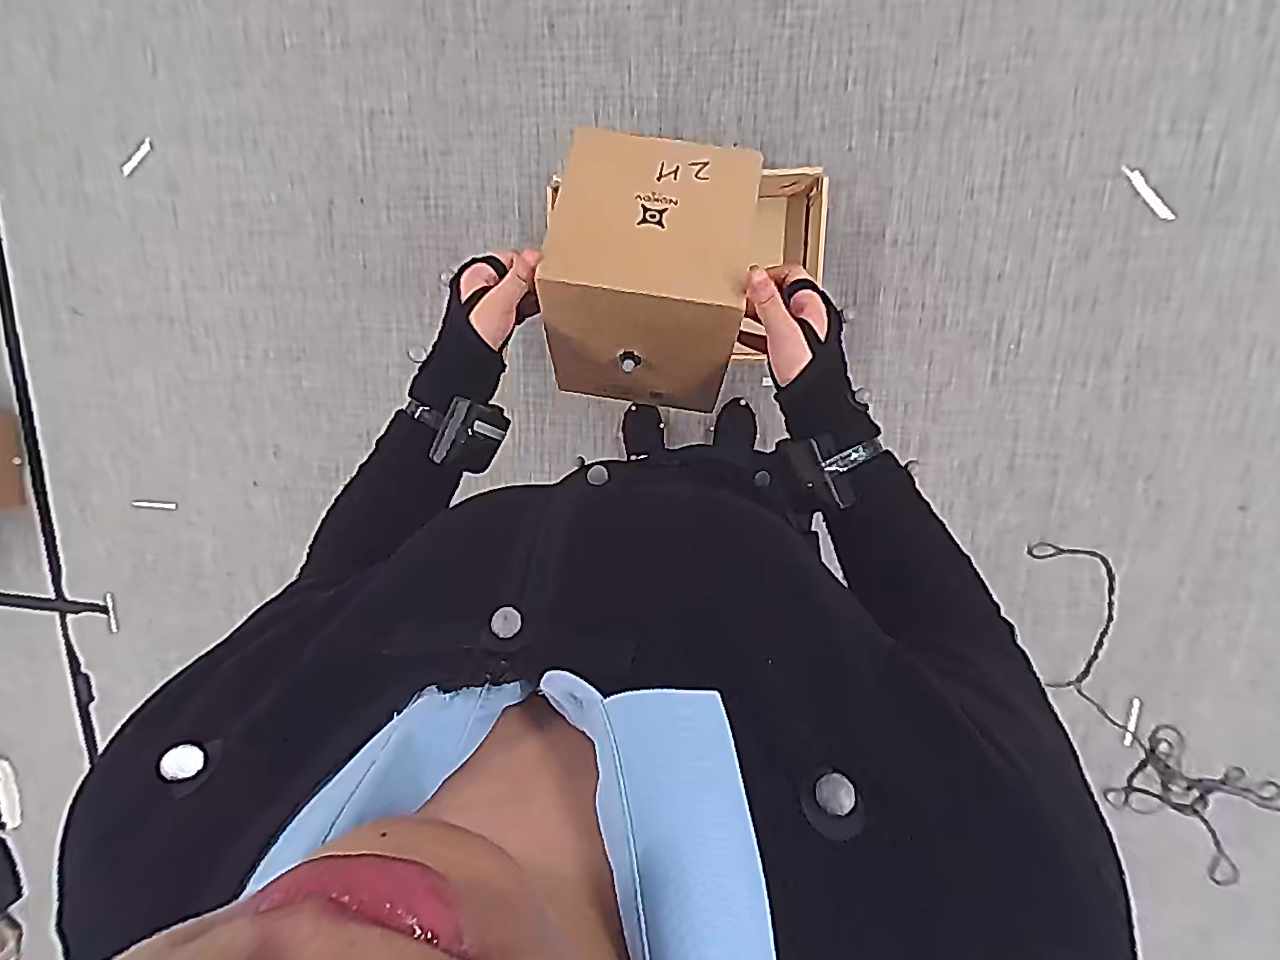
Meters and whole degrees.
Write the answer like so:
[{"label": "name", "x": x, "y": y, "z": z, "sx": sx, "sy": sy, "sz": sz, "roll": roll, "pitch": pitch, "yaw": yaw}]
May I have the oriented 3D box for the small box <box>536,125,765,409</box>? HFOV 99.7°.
[{"label": "small box", "x": 0.010, "y": -0.189, "z": 0.515, "sx": 0.168, "sy": 0.176, "sz": 0.179, "roll": 11, "pitch": 68, "yaw": 0}]
